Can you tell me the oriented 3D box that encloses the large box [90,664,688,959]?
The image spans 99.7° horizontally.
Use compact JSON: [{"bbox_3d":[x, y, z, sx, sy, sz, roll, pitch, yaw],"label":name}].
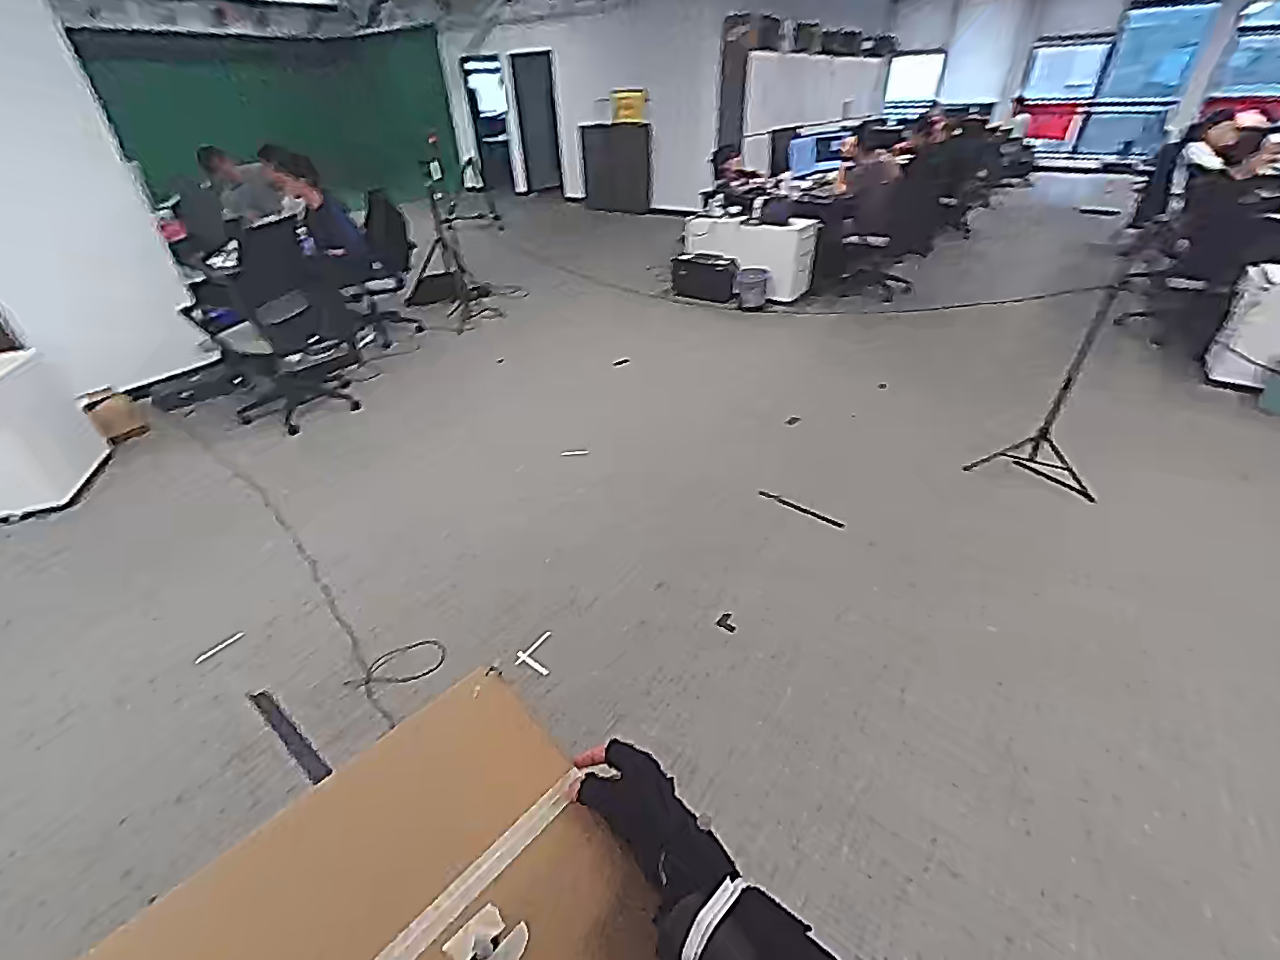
[{"bbox_3d":[-0.216,0.482,0.534,0.408,0.320,0.320,-32,59,-34],"label":"large box"}]
